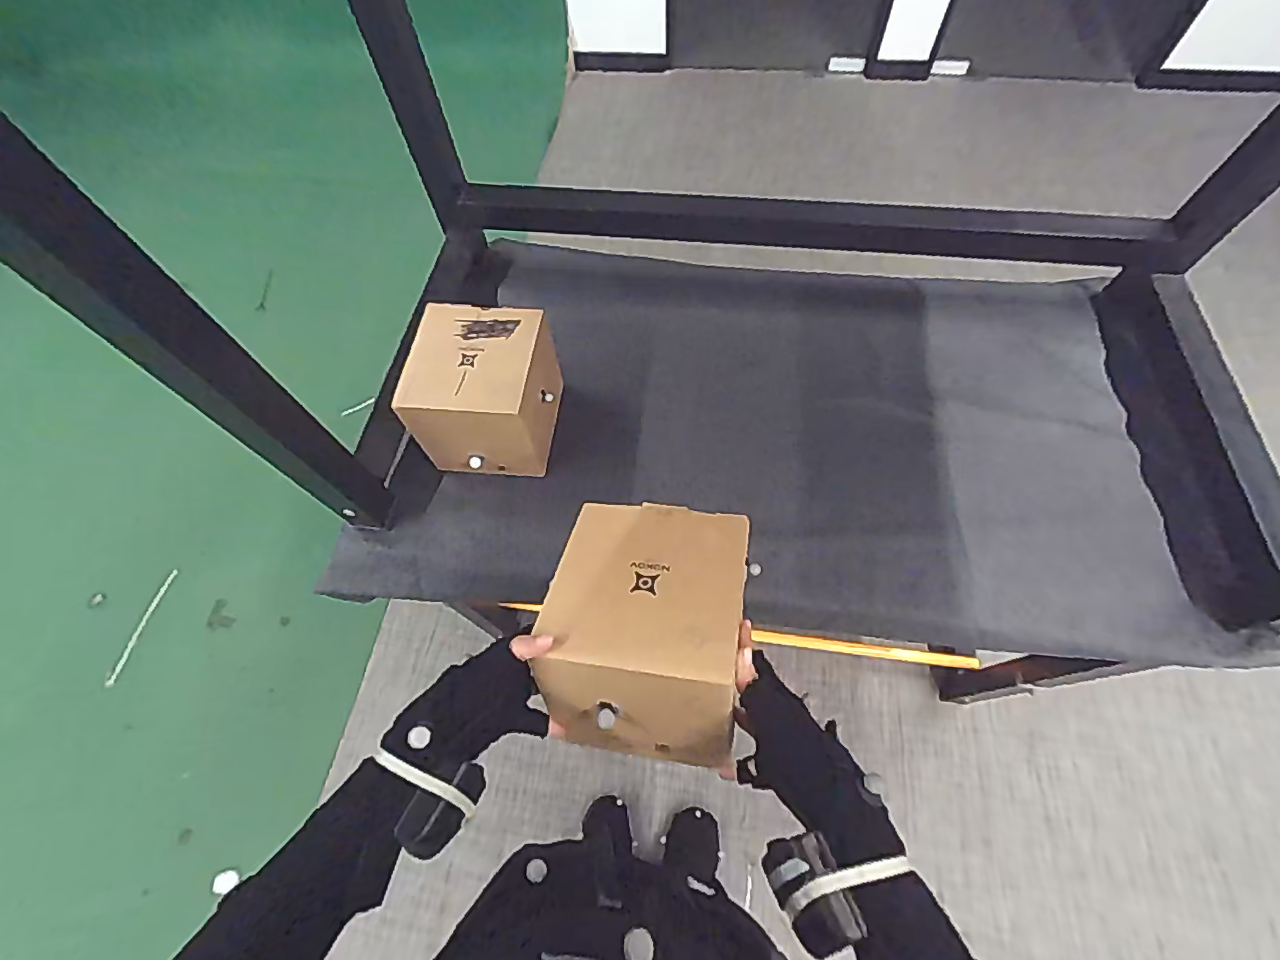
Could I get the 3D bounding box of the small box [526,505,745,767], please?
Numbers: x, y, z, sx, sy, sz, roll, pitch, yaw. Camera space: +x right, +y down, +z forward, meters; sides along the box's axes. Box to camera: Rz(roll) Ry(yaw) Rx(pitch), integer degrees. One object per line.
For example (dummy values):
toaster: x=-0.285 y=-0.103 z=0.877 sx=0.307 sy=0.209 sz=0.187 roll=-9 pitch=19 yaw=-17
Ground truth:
small box: x=0.012 y=0.147 z=0.520 sx=0.168 sy=0.176 sz=0.179 roll=3 pitch=40 yaw=12

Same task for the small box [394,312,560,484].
small box: x=-0.216 y=-0.114 z=0.776 sx=0.168 sy=0.176 sz=0.179 roll=4 pitch=62 yaw=5
